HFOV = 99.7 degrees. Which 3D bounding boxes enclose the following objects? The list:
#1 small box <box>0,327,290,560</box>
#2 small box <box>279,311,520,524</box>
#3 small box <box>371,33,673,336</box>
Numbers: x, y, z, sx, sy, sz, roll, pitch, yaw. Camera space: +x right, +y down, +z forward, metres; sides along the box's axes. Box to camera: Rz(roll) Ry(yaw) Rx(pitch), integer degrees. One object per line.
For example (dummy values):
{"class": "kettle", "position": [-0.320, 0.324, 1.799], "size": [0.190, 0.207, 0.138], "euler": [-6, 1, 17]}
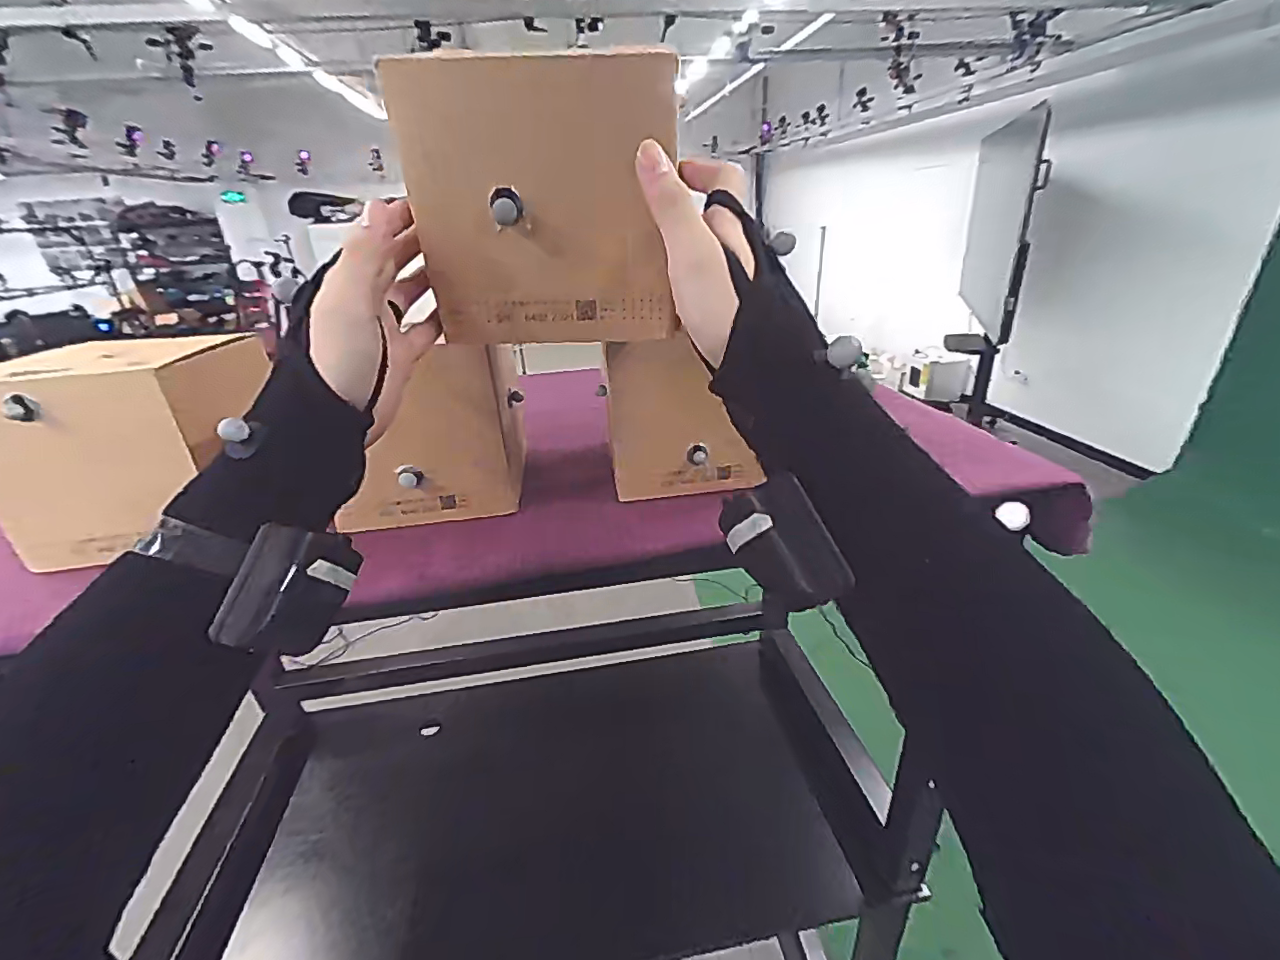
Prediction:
{"class": "small box", "position": [-0.467, -0.044, 0.514], "size": [0.168, 0.176, 0.179], "euler": [-7, 24, -7]}
{"class": "small box", "position": [-0.218, -0.073, 0.548], "size": [0.168, 0.176, 0.179], "euler": [-6, 26, -6]}
{"class": "small box", "position": [-0.060, -0.216, 0.400], "size": [0.168, 0.176, 0.179], "euler": [-1, 39, 0]}
